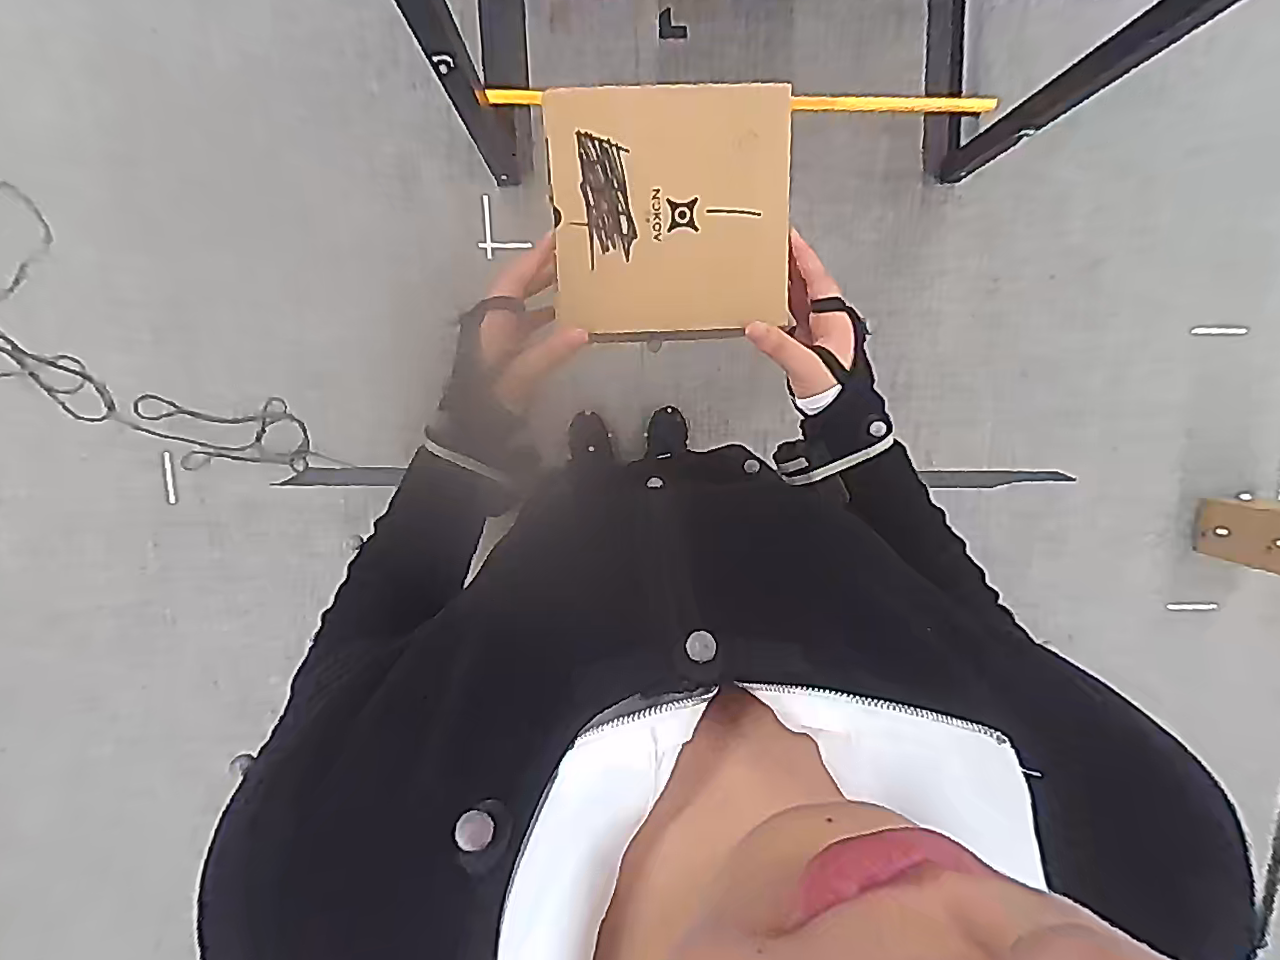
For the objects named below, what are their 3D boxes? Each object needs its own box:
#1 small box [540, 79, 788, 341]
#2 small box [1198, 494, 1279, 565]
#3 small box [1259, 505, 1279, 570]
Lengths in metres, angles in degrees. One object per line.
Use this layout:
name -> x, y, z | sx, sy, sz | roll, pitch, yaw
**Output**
small box -> 0.017, -0.212, 0.469 | 0.179, 0.176, 0.168 | -3, 102, -2
small box -> 1.711, 0.133, 1.490 | 0.179, 0.176, 0.168 | -1, 99, -1
small box -> 1.708, 0.155, 1.326 | 0.179, 0.176, 0.168 | 1, 99, -1
